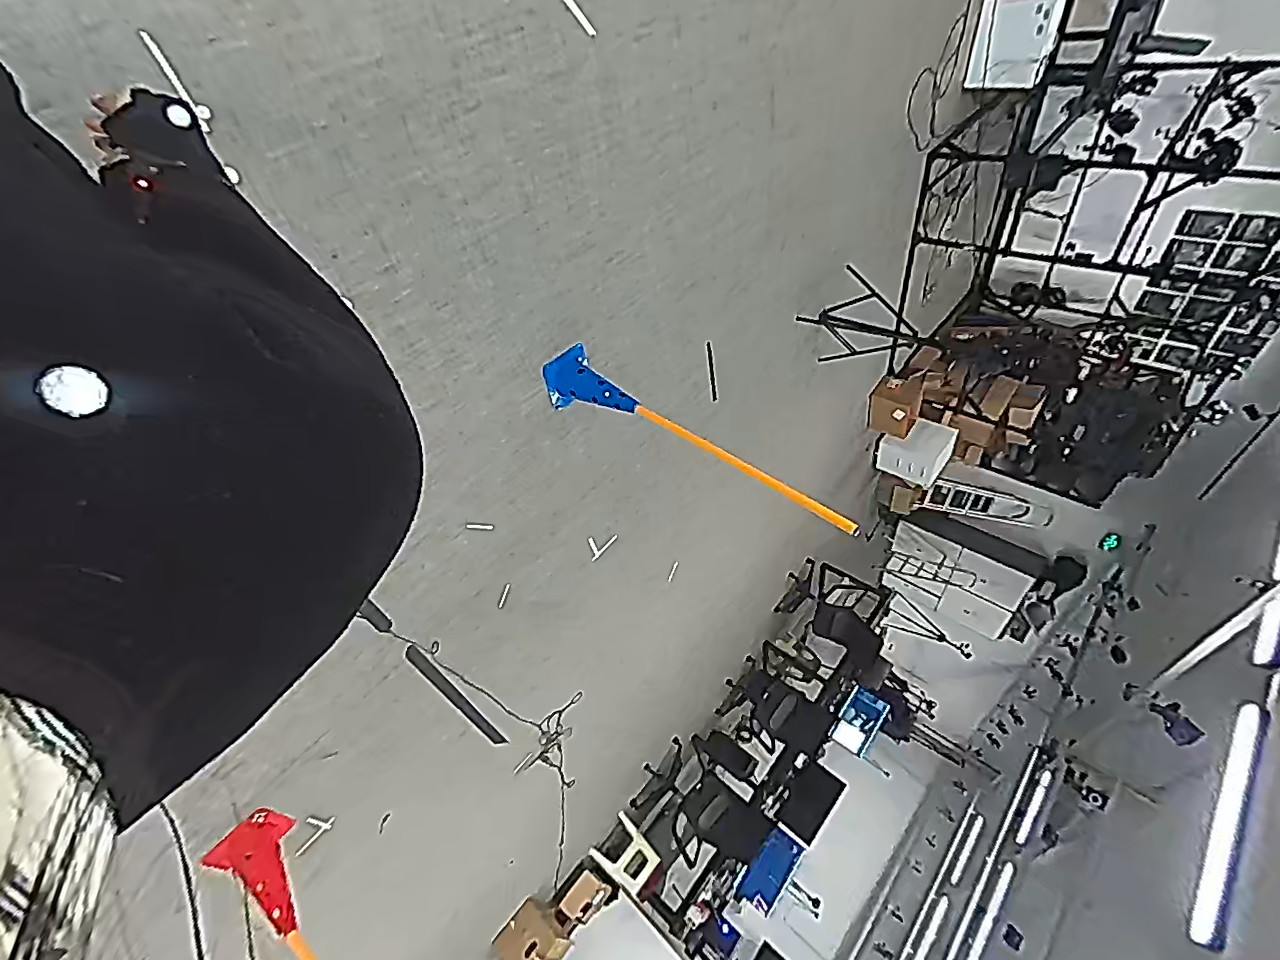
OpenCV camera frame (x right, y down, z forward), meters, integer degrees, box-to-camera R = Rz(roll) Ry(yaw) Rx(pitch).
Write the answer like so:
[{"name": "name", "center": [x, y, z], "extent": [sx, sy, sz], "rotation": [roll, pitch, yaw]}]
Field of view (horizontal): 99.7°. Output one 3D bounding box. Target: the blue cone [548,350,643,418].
[{"name": "blue cone", "center": [-0.137, -0.306, 1.910], "extent": [0.193, 0.380, 0.192], "rotation": [-41, 142, -28]}]
